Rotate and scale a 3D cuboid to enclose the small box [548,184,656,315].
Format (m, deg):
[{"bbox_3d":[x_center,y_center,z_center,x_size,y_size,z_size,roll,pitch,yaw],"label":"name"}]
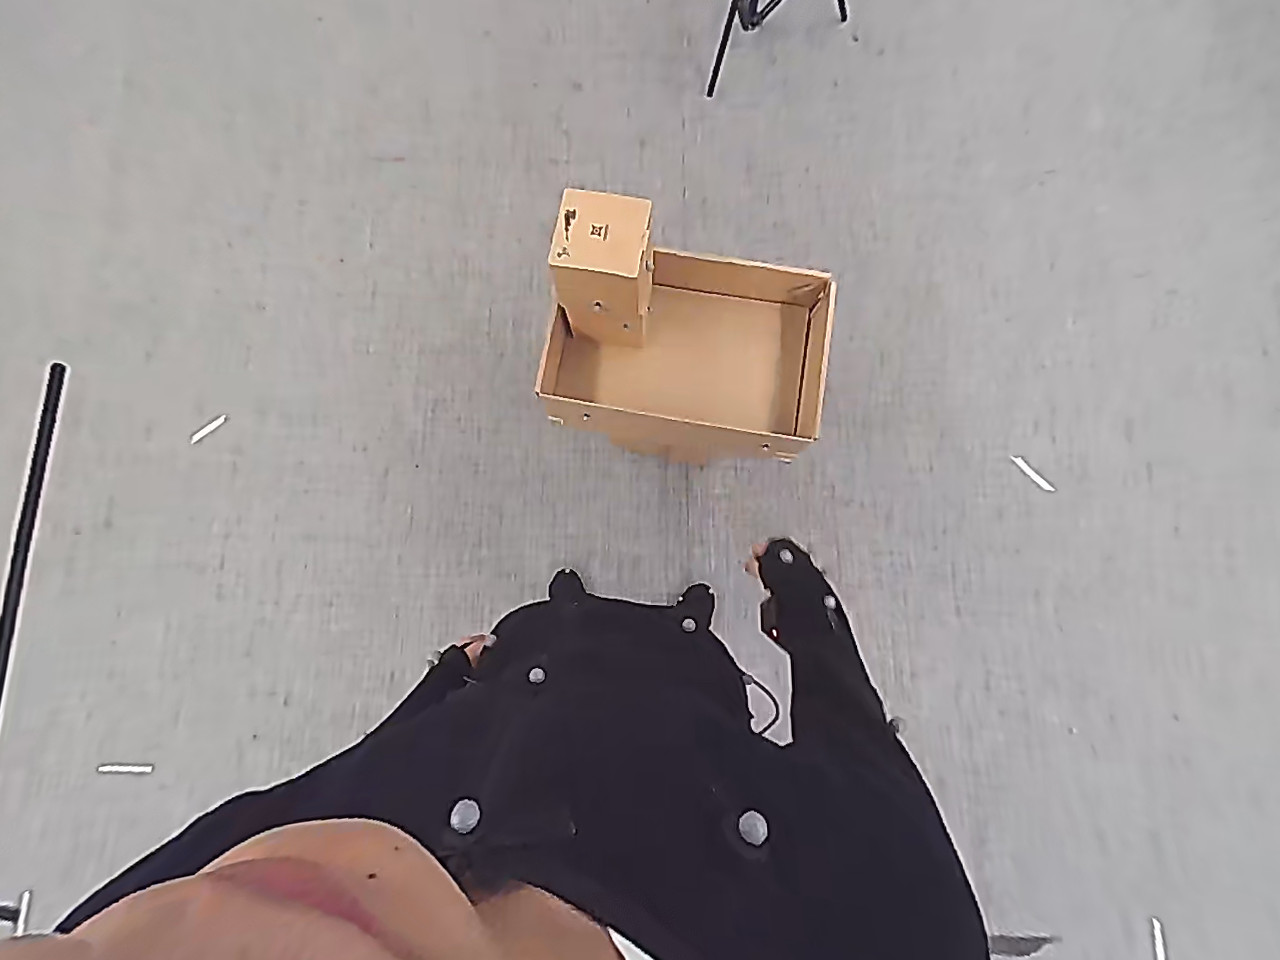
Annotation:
[{"bbox_3d":[-0.071,-0.451,1.083,0.179,0.176,0.168,11,80,2],"label":"small box"}]
